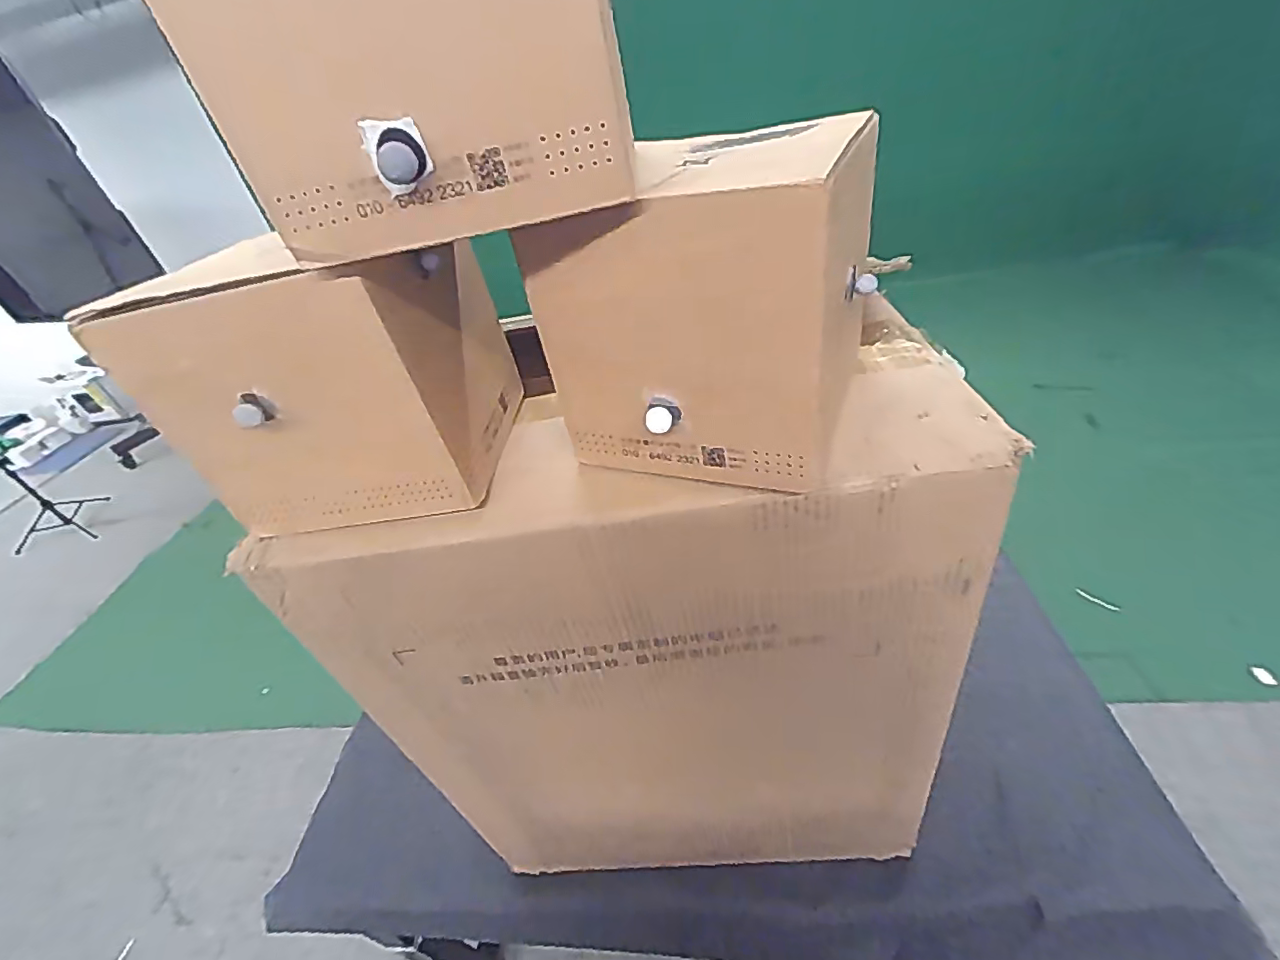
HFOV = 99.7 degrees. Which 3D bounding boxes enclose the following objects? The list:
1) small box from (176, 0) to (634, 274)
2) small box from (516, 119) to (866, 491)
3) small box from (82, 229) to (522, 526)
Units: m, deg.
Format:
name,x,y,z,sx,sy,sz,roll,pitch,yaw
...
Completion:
name,x,y,z,sx,sy,sz,roll,pitch,yaw
small box,-0.100,-0.224,0.275,0.168,0.176,0.179,-11,39,6
small box,0.046,-0.118,0.362,0.168,0.176,0.179,8,43,25
small box,-0.209,-0.083,0.397,0.179,0.176,0.168,-9,39,8
